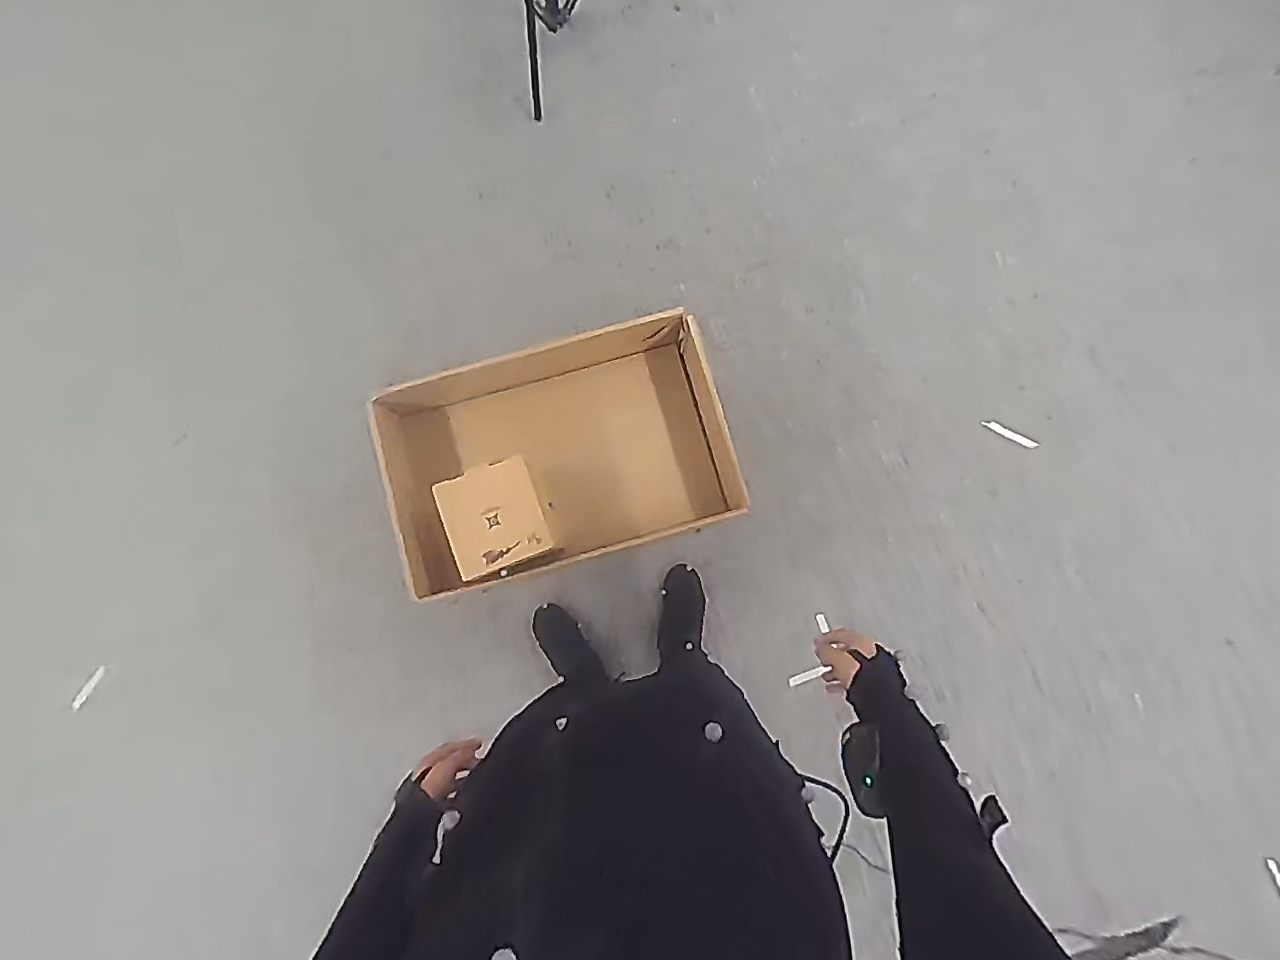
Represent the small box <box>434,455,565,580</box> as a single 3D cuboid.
[{"bbox_3d":[-0.250,0.075,0.999,0.168,0.176,0.179,-20,82,-3],"label":"small box"}]
